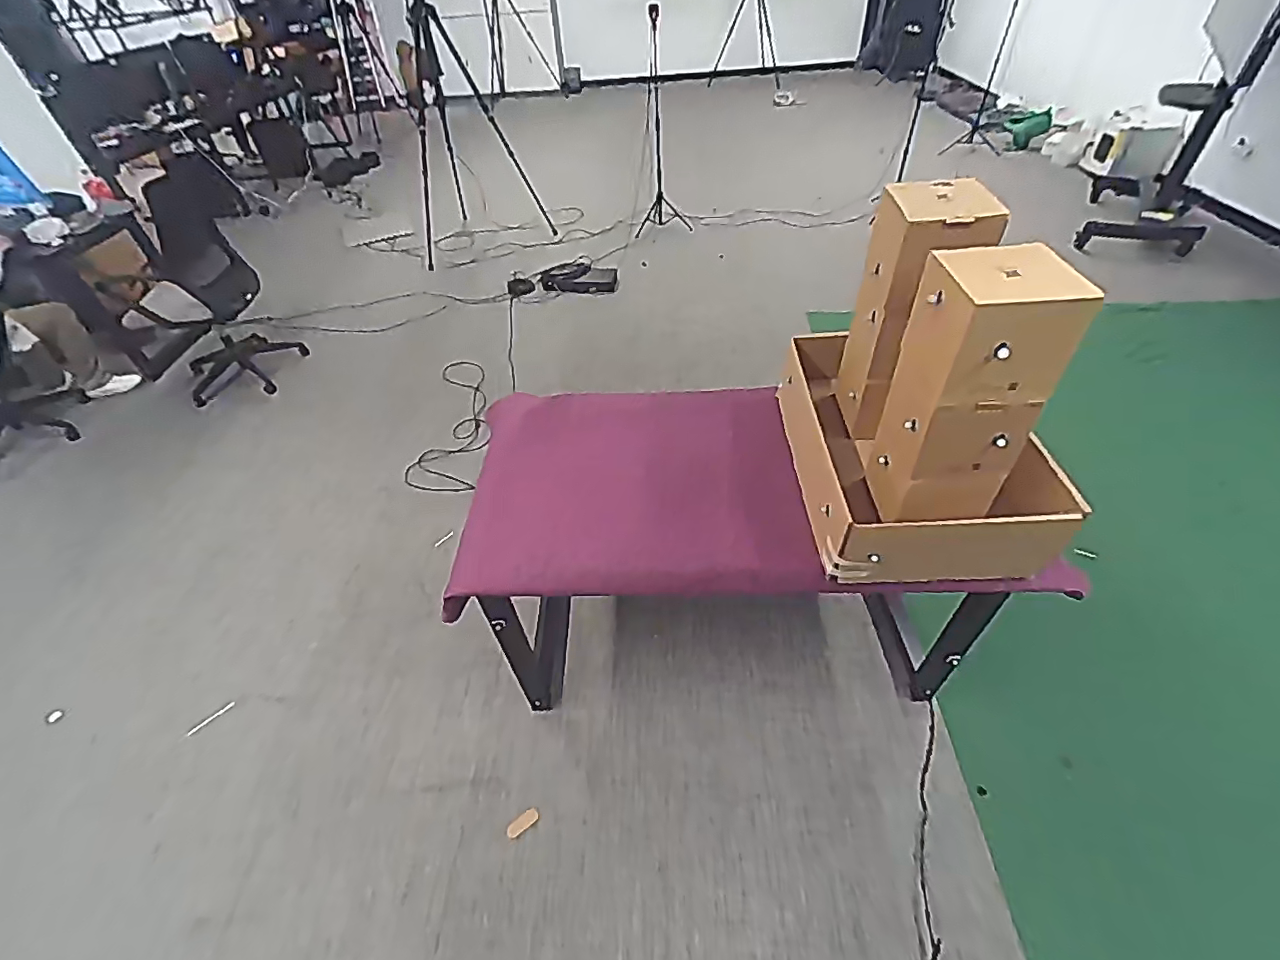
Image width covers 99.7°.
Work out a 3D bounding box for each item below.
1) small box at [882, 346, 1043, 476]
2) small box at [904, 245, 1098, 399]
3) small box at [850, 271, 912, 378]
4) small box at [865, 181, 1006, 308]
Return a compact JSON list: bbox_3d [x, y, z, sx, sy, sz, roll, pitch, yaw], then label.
[{"bbox_3d":[0.542,-0.120,0.937,0.168,0.176,0.179,-2,44,5],"label":"small box"},{"bbox_3d":[0.529,-0.235,0.825,0.168,0.176,0.179,-2,44,4],"label":"small box"},{"bbox_3d":[0.555,-0.326,1.137,0.168,0.176,0.179,0,47,5],"label":"small box"},{"bbox_3d":[0.540,-0.437,1.017,0.168,0.176,0.179,0,48,5],"label":"small box"}]
